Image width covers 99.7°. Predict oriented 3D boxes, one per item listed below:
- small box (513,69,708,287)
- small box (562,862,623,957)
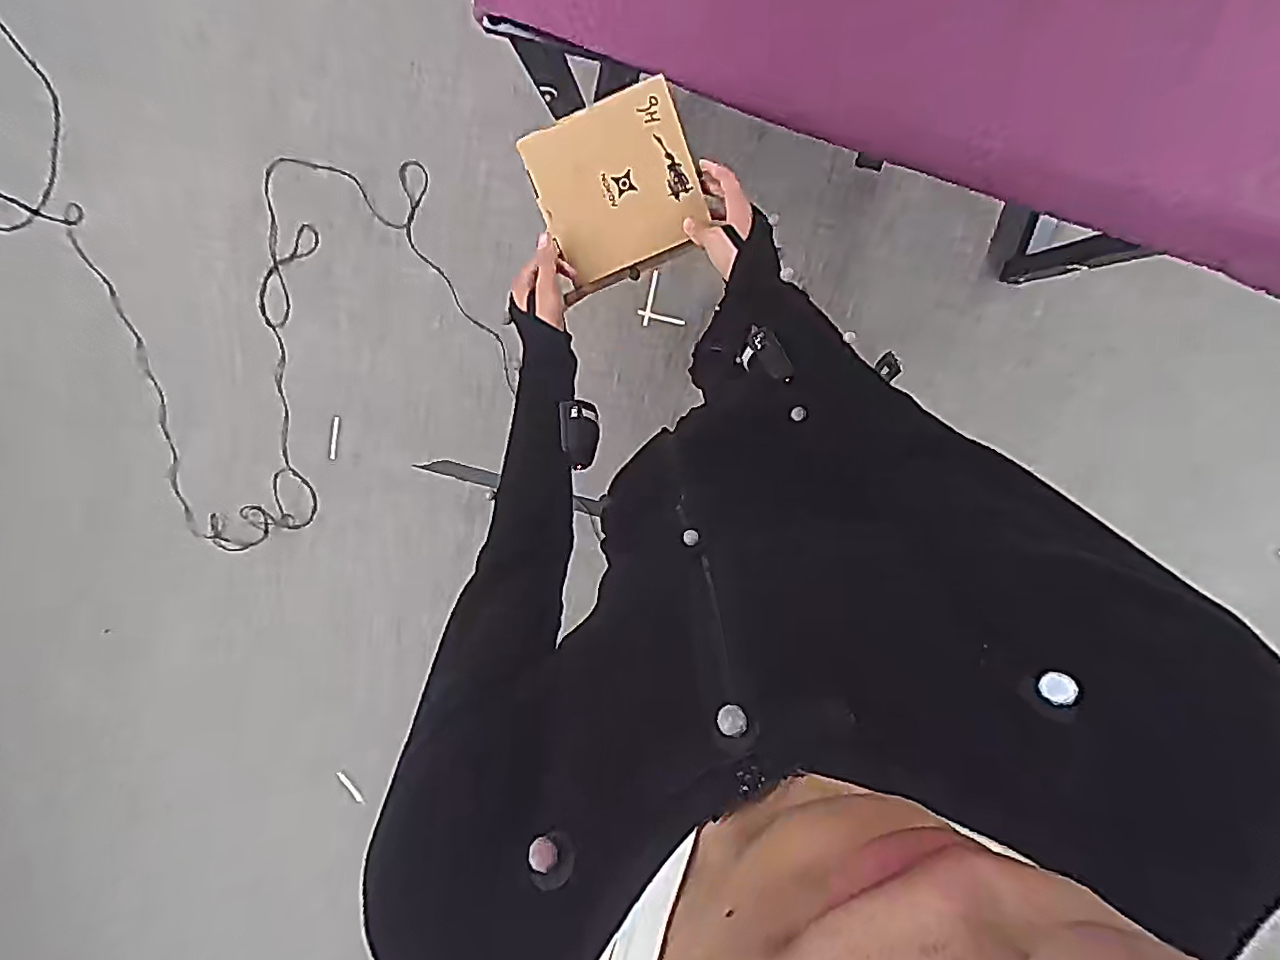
[{"bbox_3d":[-0.029,-0.352,0.673,0.179,0.176,0.168,-21,105,6],"label":"small box"},{"bbox_3d":[-0.159,1.493,1.886,0.168,0.176,0.179,14,101,0],"label":"small box"}]
